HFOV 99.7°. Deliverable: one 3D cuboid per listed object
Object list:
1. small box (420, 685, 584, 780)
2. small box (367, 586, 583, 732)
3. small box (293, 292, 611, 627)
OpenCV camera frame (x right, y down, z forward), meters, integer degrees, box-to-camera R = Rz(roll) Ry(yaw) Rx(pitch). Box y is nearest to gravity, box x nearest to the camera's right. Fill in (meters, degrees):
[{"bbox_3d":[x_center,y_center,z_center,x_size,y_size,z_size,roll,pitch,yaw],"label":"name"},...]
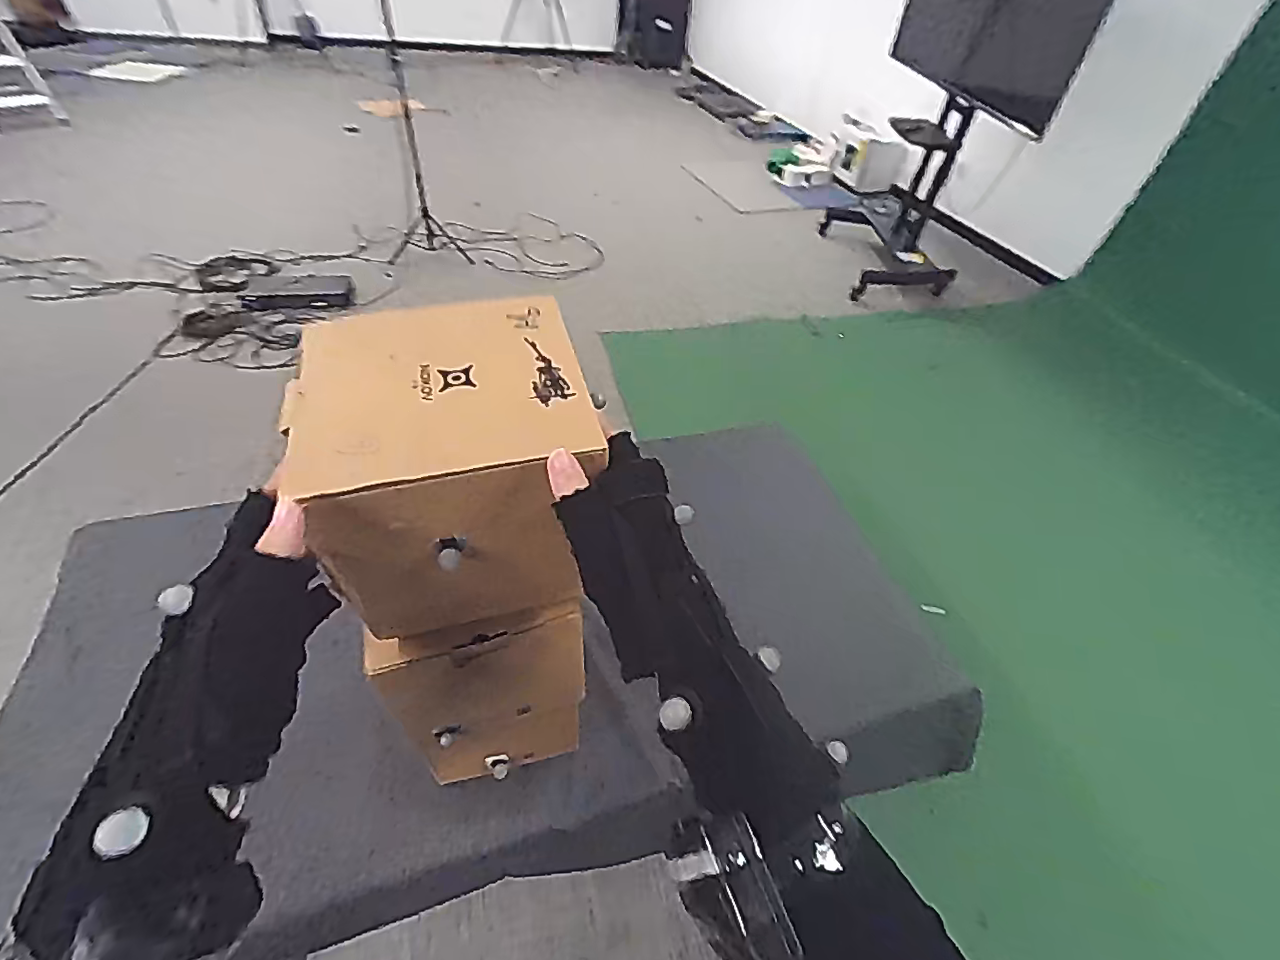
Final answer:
[{"bbox_3d":[-0.166,0.231,0.658,0.168,0.176,0.179,-10,48,-14],"label":"small box"},{"bbox_3d":[-0.156,0.123,0.534,0.168,0.176,0.179,-13,46,-16],"label":"small box"},{"bbox_3d":[-0.125,-0.013,0.408,0.179,0.176,0.168,-14,52,-14],"label":"small box"}]
